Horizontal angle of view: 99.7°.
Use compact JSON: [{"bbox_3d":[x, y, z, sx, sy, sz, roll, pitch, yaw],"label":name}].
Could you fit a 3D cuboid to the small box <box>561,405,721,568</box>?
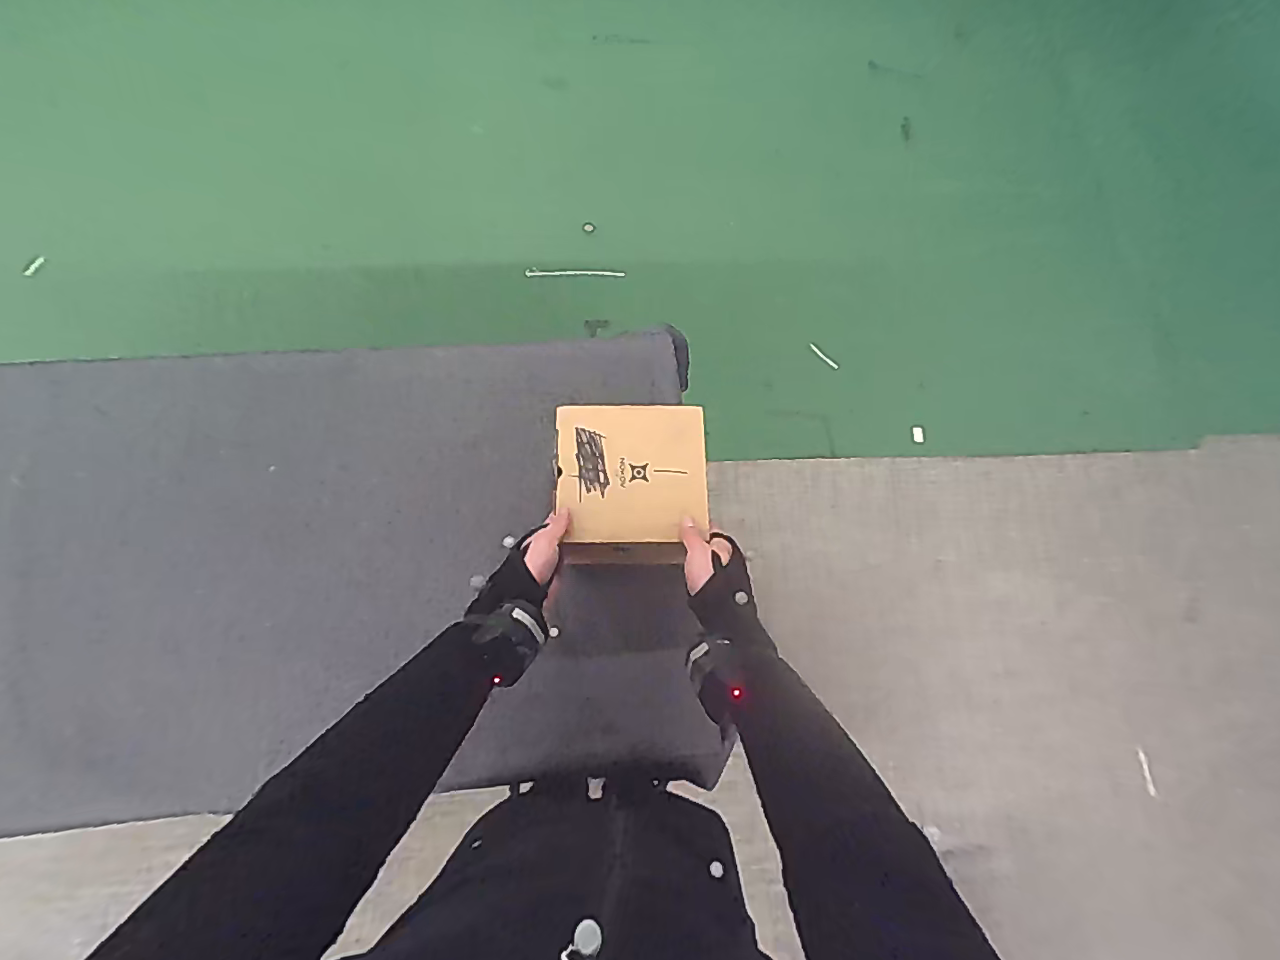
[{"bbox_3d":[-0.005,0.017,0.681,0.179,0.176,0.168,1,72,-6],"label":"small box"}]
